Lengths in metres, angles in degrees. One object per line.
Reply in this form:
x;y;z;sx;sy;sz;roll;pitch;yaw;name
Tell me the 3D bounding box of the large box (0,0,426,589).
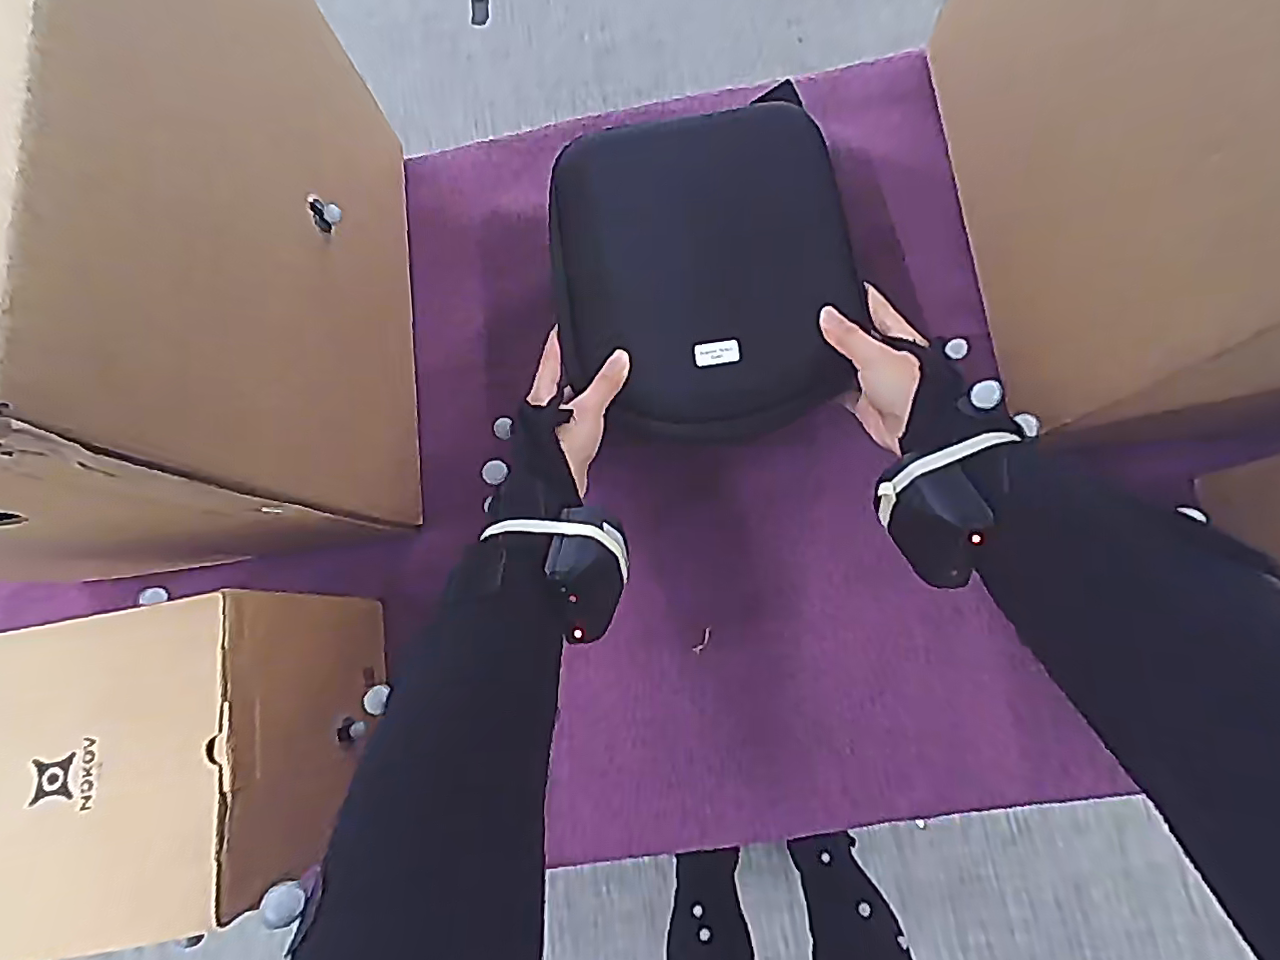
-0.378;-0.148;0.382;0.320;0.320;0.408;-10;79;3;large box
